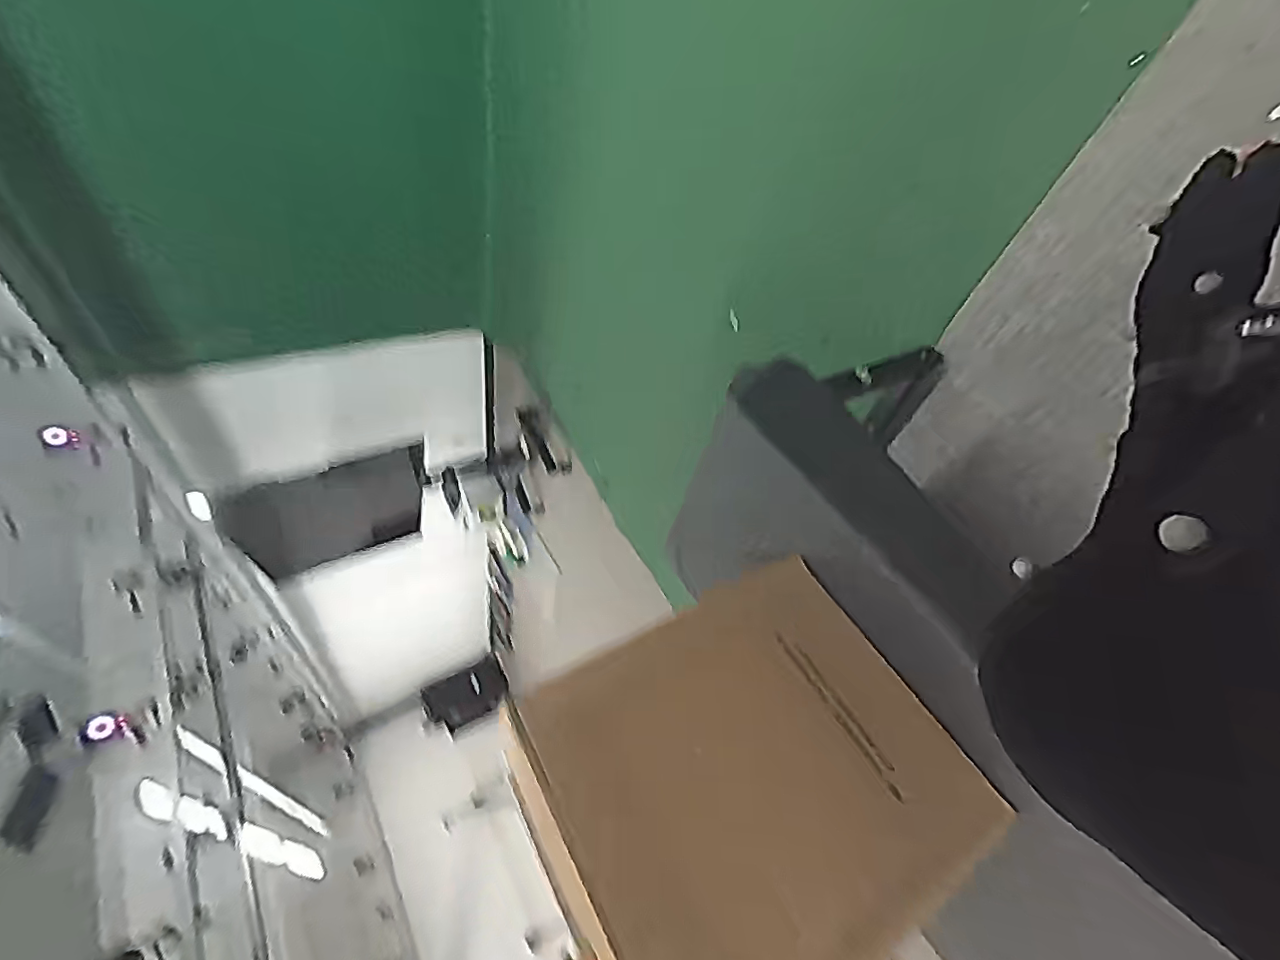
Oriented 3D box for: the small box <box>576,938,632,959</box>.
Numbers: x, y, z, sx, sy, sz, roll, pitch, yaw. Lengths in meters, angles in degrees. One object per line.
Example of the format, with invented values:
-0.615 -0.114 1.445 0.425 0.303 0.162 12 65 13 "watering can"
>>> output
-0.064 0.728 0.688 0.179 0.176 0.168 50 146 31 "small box"
